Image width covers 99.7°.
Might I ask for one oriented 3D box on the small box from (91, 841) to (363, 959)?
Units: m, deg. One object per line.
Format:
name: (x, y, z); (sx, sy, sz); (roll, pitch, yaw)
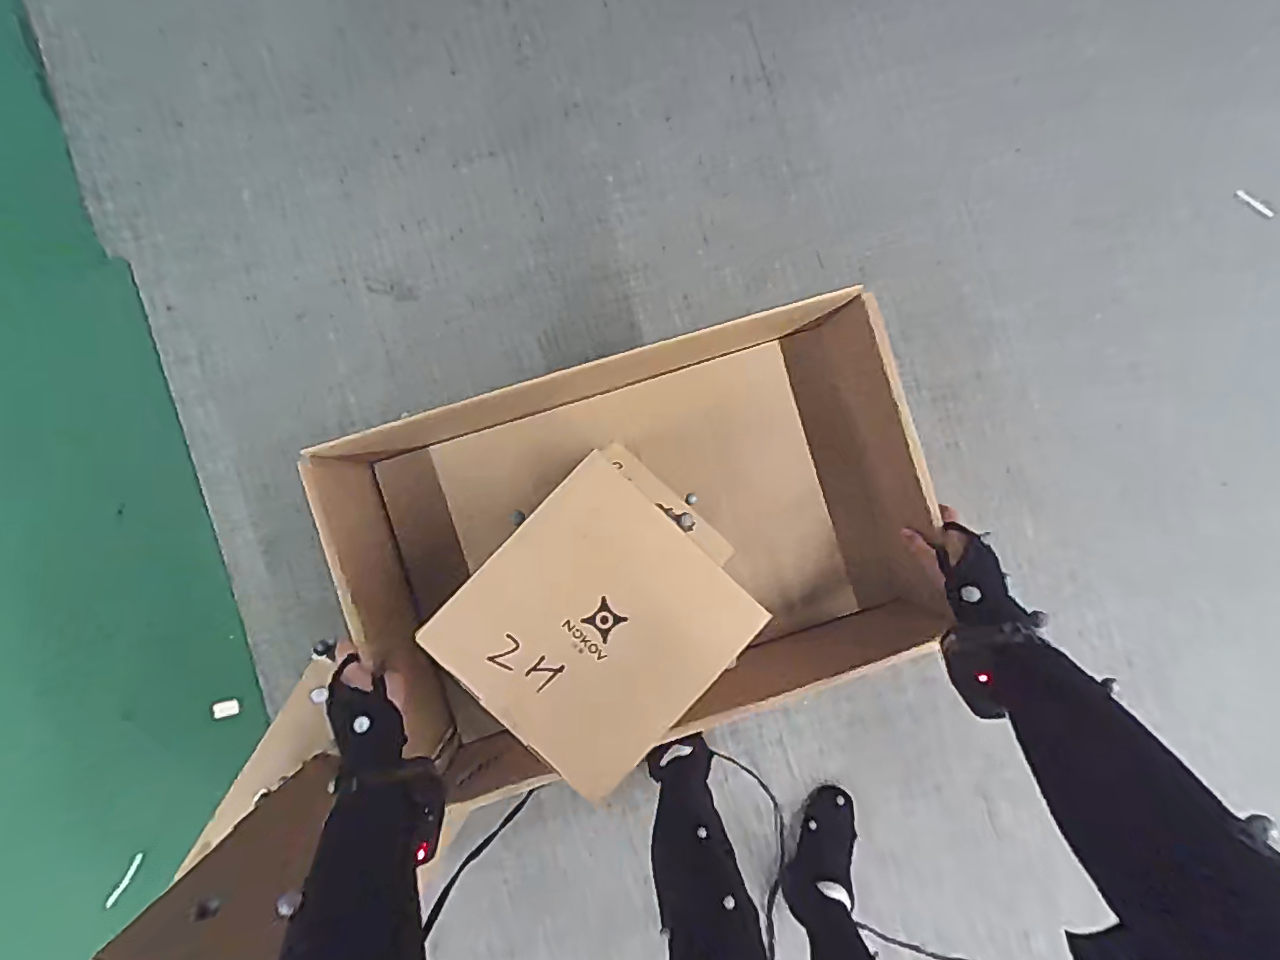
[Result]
small box: (-0.416, 0.496, 0.519); (0.179, 0.176, 0.168); (33, 88, -1)

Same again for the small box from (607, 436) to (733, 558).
small box: (-0.026, 0.074, 0.604); (0.168, 0.176, 0.179); (43, 88, -2)

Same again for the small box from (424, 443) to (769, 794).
small box: (-0.031, 0.092, 0.438); (0.168, 0.176, 0.179); (44, 88, 0)

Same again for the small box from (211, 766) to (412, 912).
small box: (-0.430, 0.500, 0.682); (0.179, 0.176, 0.168); (36, 88, -2)
